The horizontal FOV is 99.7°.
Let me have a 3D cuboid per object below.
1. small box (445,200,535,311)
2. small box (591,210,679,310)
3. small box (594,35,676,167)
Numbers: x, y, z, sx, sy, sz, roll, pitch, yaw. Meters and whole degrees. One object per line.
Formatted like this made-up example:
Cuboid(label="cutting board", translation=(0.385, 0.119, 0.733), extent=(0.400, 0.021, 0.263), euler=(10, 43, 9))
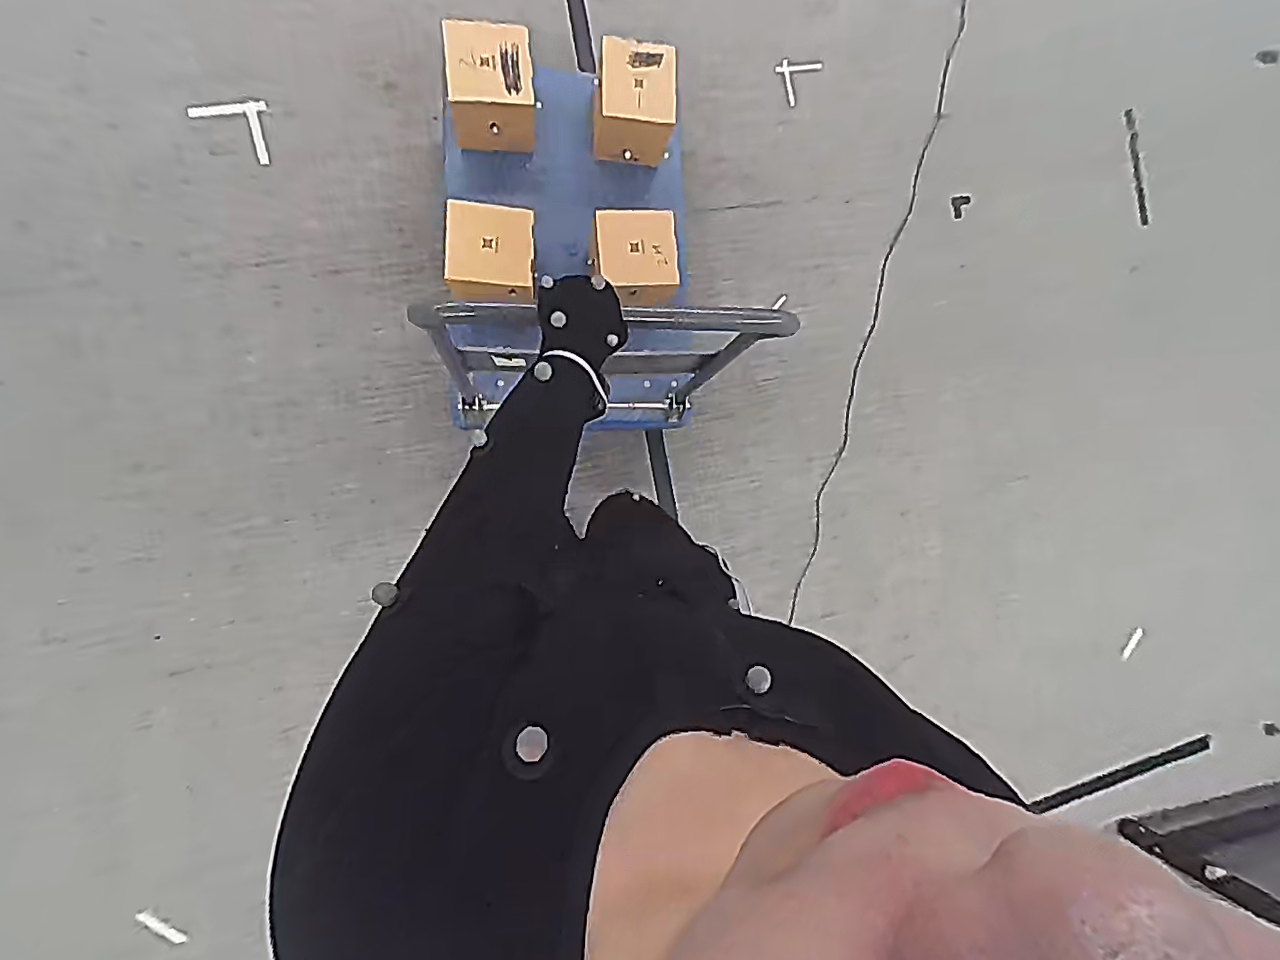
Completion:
Cuboid(label="small box", translation=(-0.323, -0.483, 1.189), extent=(0.179, 0.176, 0.168), euler=(1, 89, -13))
Cuboid(label="small box", translation=(-0.019, -0.500, 1.247), extent=(0.179, 0.176, 0.168), euler=(-5, 90, -11))
Cuboid(label="small box", translation=(-0.018, -0.869, 1.254), extent=(0.168, 0.176, 0.179), euler=(0, 90, -11))
